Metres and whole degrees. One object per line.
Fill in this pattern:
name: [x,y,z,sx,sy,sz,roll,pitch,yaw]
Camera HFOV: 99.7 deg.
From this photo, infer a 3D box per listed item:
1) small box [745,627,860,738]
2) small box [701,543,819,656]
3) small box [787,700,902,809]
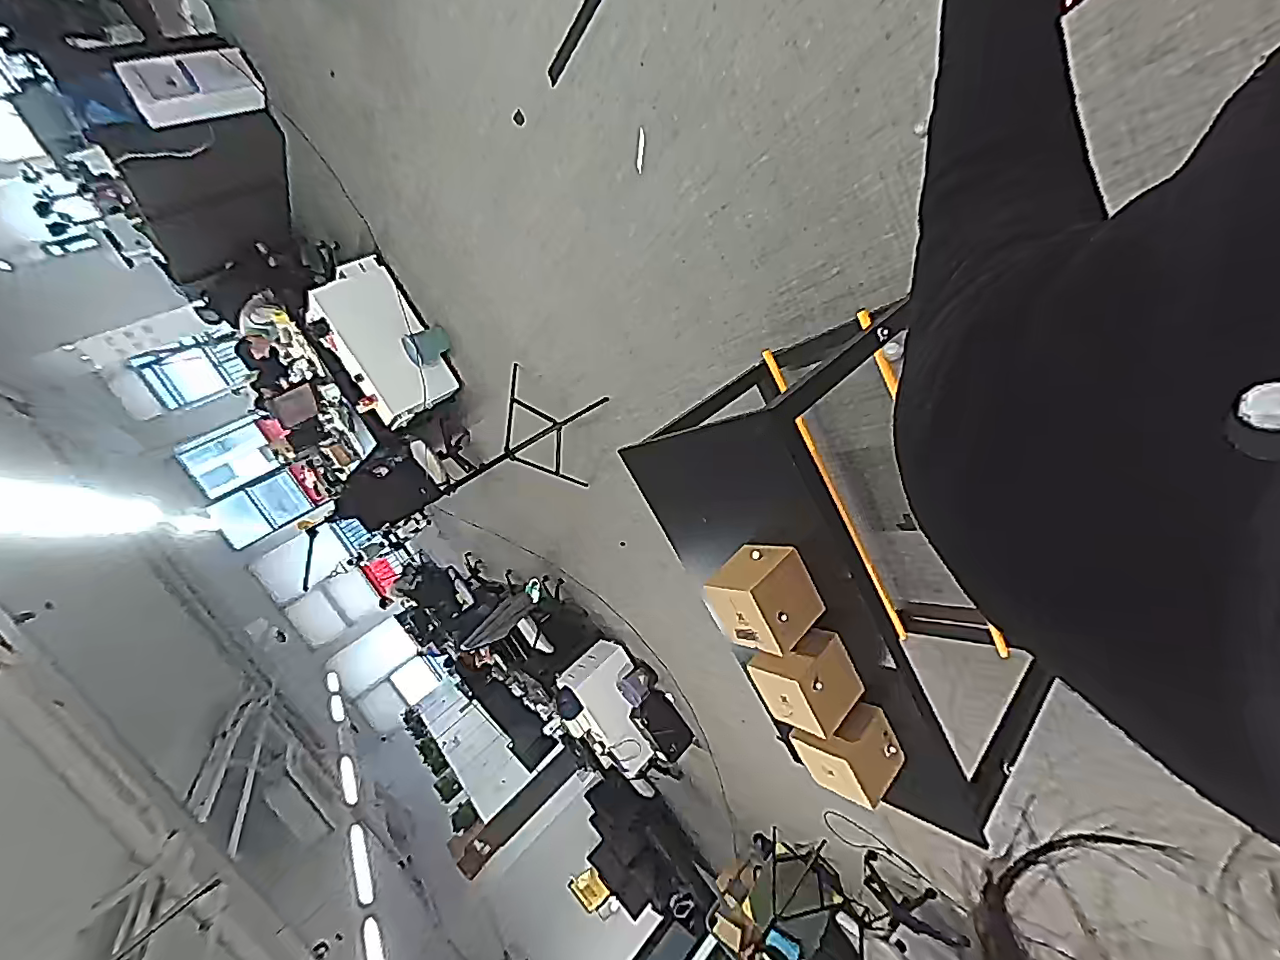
small box: [0.394,0.474,1.306,0.168,0.176,0.179,-6,116,58]
small box: [0.281,0.268,1.248,0.168,0.176,0.179,-8,115,58]
small box: [0.509,0.658,1.342,0.179,0.176,0.168,-10,114,58]
